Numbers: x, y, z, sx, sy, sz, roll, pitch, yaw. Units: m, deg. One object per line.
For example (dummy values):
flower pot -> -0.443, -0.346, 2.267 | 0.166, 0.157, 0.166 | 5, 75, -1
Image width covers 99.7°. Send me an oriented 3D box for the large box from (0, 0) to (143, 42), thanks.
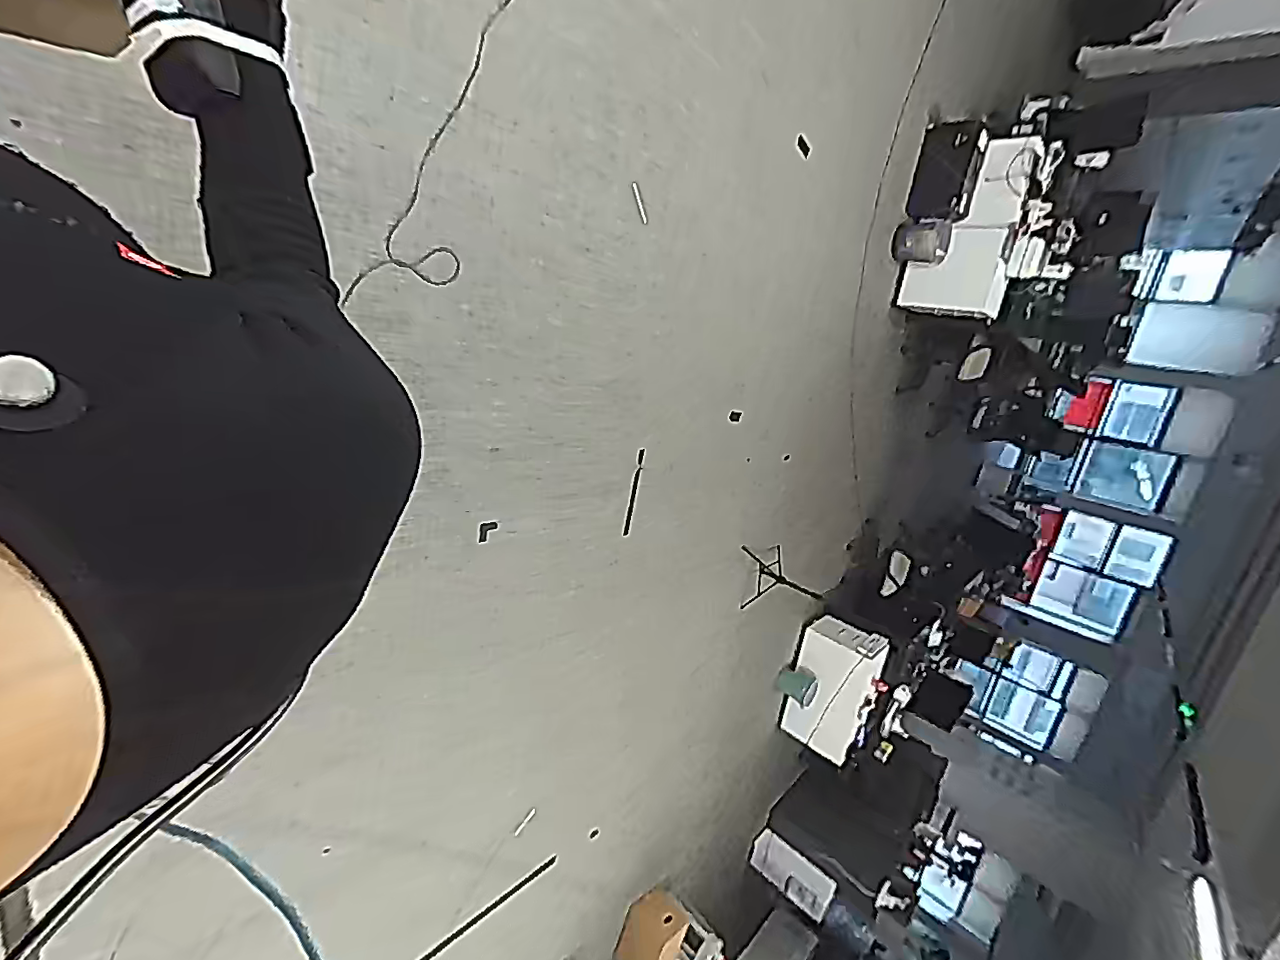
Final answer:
large box -> -0.547, -0.484, 0.261 | 0.408, 0.320, 0.320 | -20, 124, -46
